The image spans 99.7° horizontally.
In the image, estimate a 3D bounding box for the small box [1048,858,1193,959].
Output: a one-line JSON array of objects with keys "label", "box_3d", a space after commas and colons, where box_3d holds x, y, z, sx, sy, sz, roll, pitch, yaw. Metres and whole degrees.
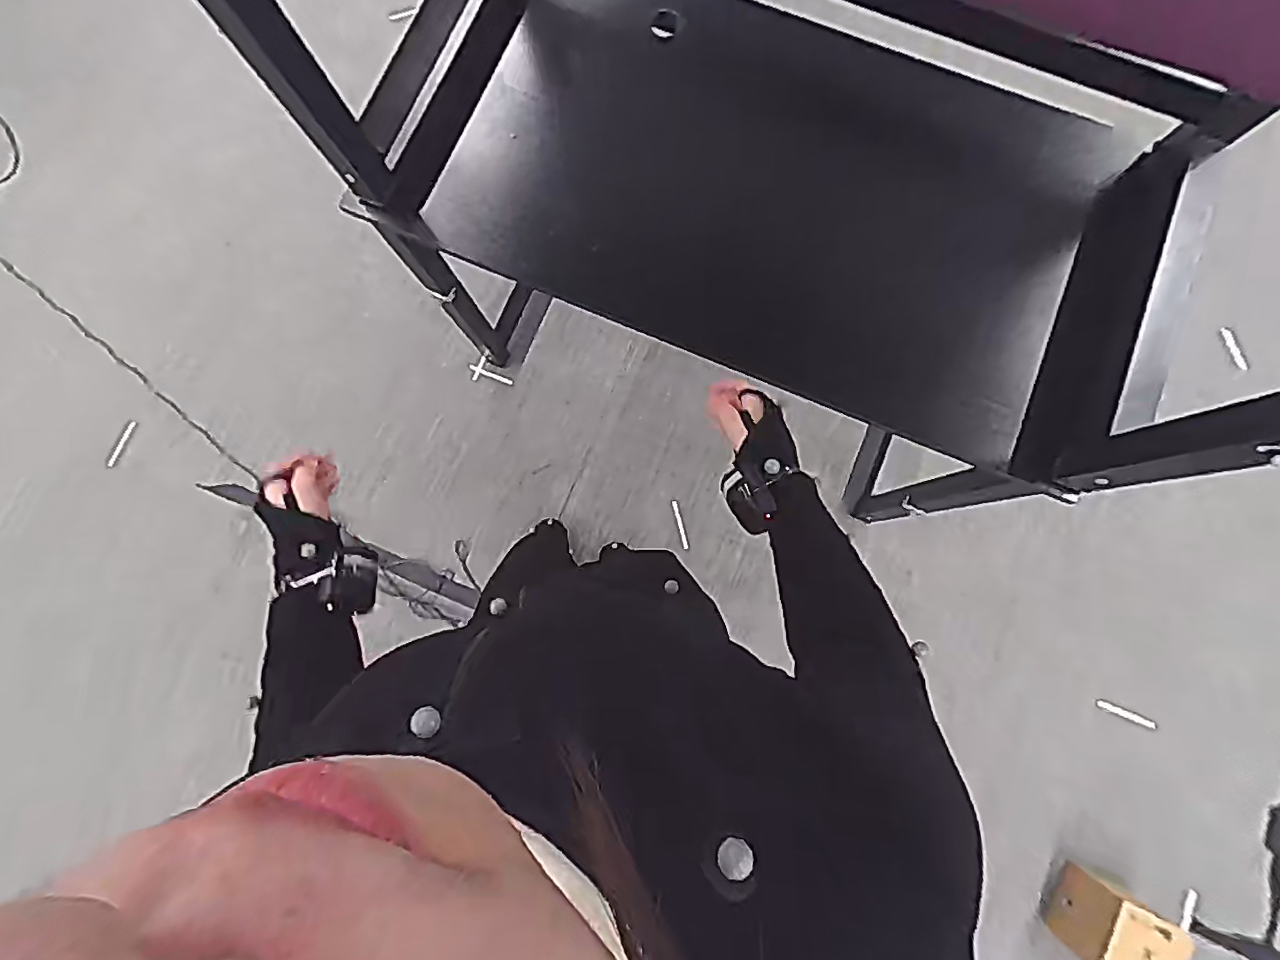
[{"label": "small box", "box_3d": [1.124, 1.059, 1.282, 0.168, 0.176, 0.179, 28, 85, 4]}]
